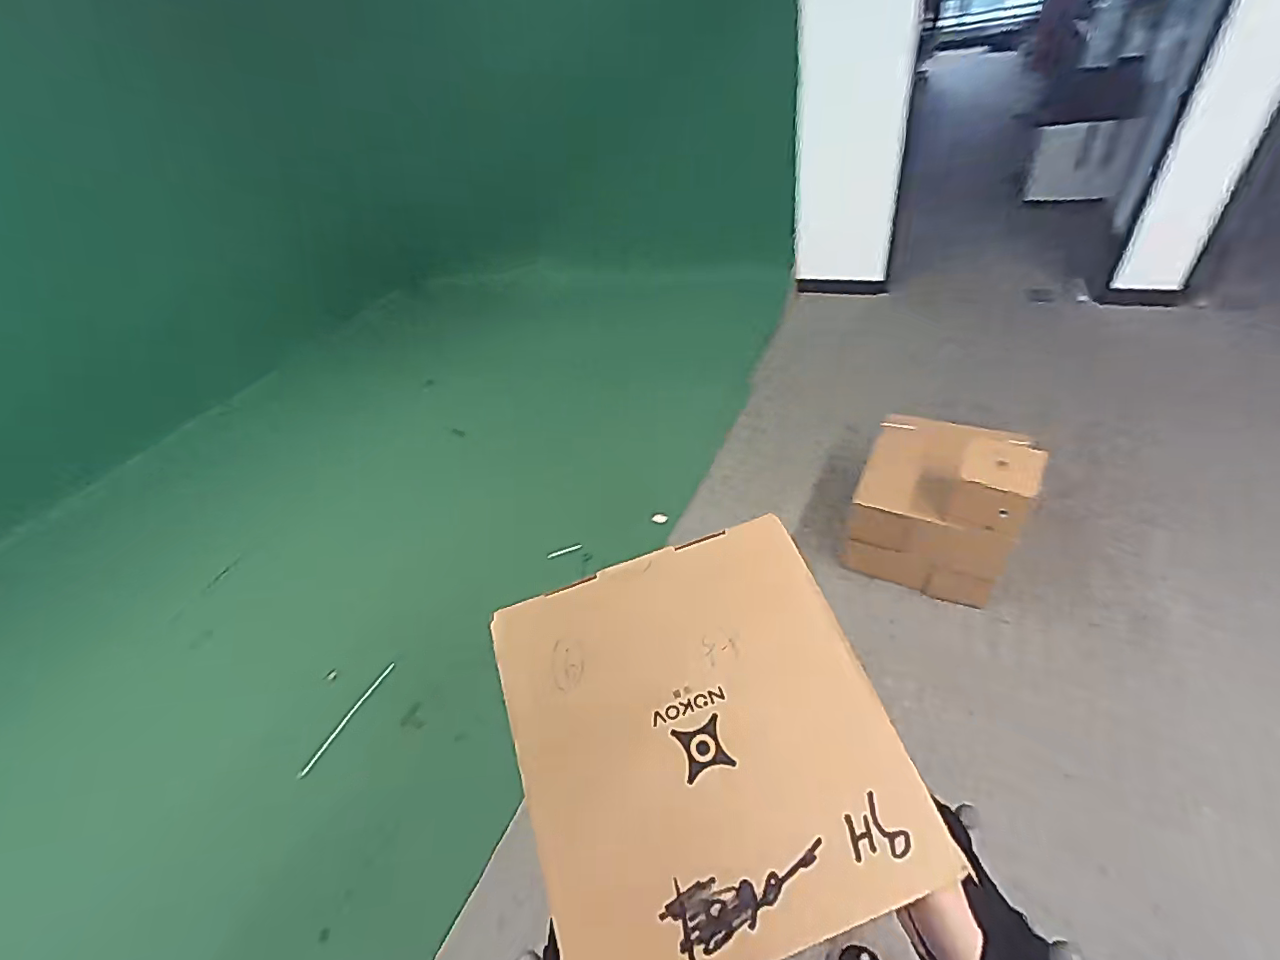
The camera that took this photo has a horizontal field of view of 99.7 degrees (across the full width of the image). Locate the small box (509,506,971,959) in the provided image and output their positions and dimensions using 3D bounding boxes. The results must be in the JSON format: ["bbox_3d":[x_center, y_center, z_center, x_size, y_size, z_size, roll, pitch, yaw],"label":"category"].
[{"bbox_3d":[0.038,0.147,0.320,0.168,0.176,0.179,-19,61,-5],"label":"small box"}]

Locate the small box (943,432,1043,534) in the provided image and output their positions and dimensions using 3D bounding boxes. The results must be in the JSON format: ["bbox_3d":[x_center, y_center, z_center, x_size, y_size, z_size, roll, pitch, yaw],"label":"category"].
[{"bbox_3d":[0.899,0.009,1.387,0.168,0.176,0.179,20,51,29],"label":"small box"}]
